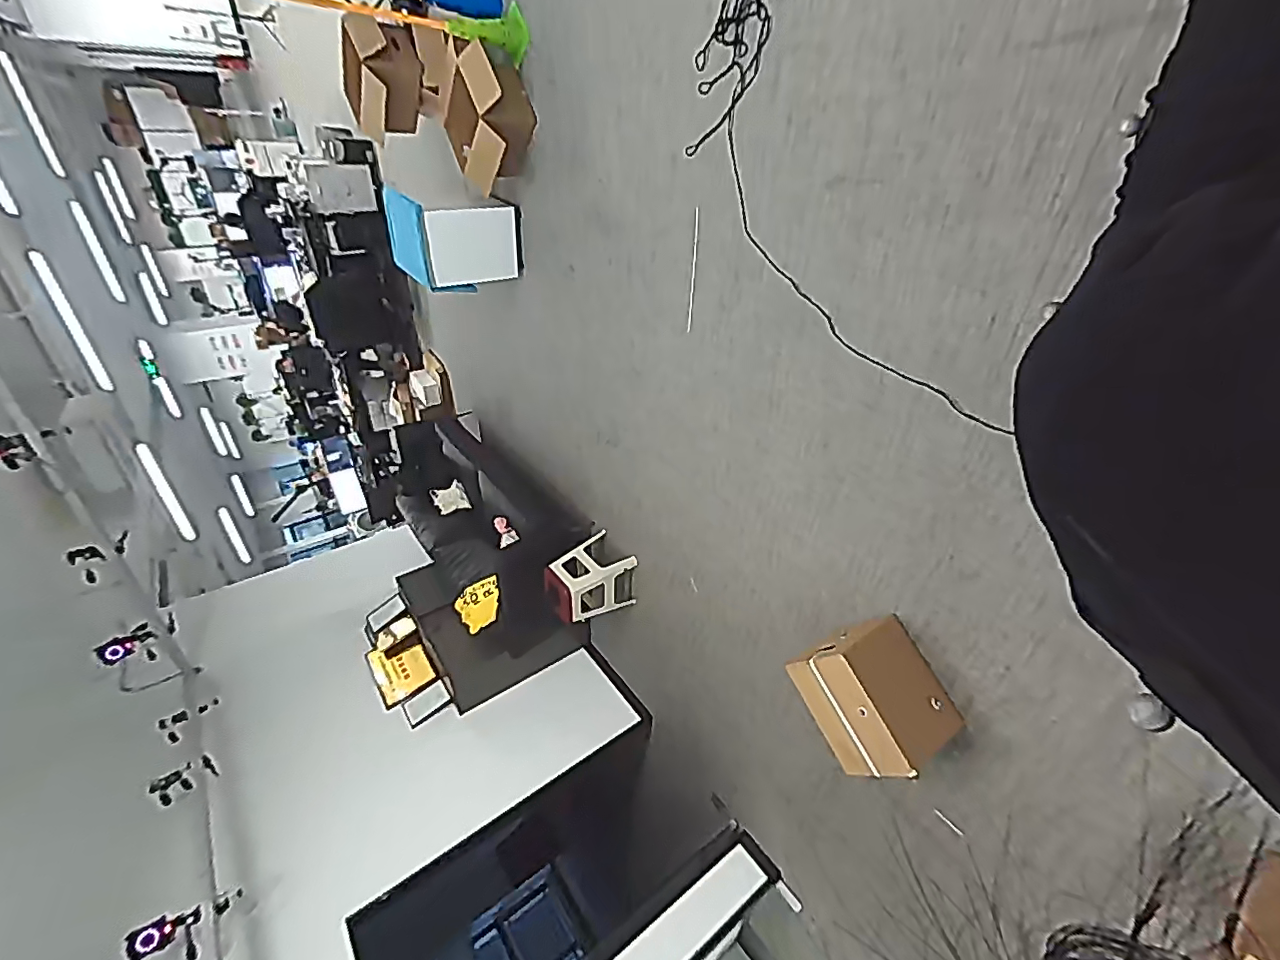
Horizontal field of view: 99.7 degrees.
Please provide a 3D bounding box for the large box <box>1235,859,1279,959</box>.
[{"bbox_3d":[1.464,1.075,1.046,0.408,0.320,0.320,22,126,50],"label":"large box"}]
